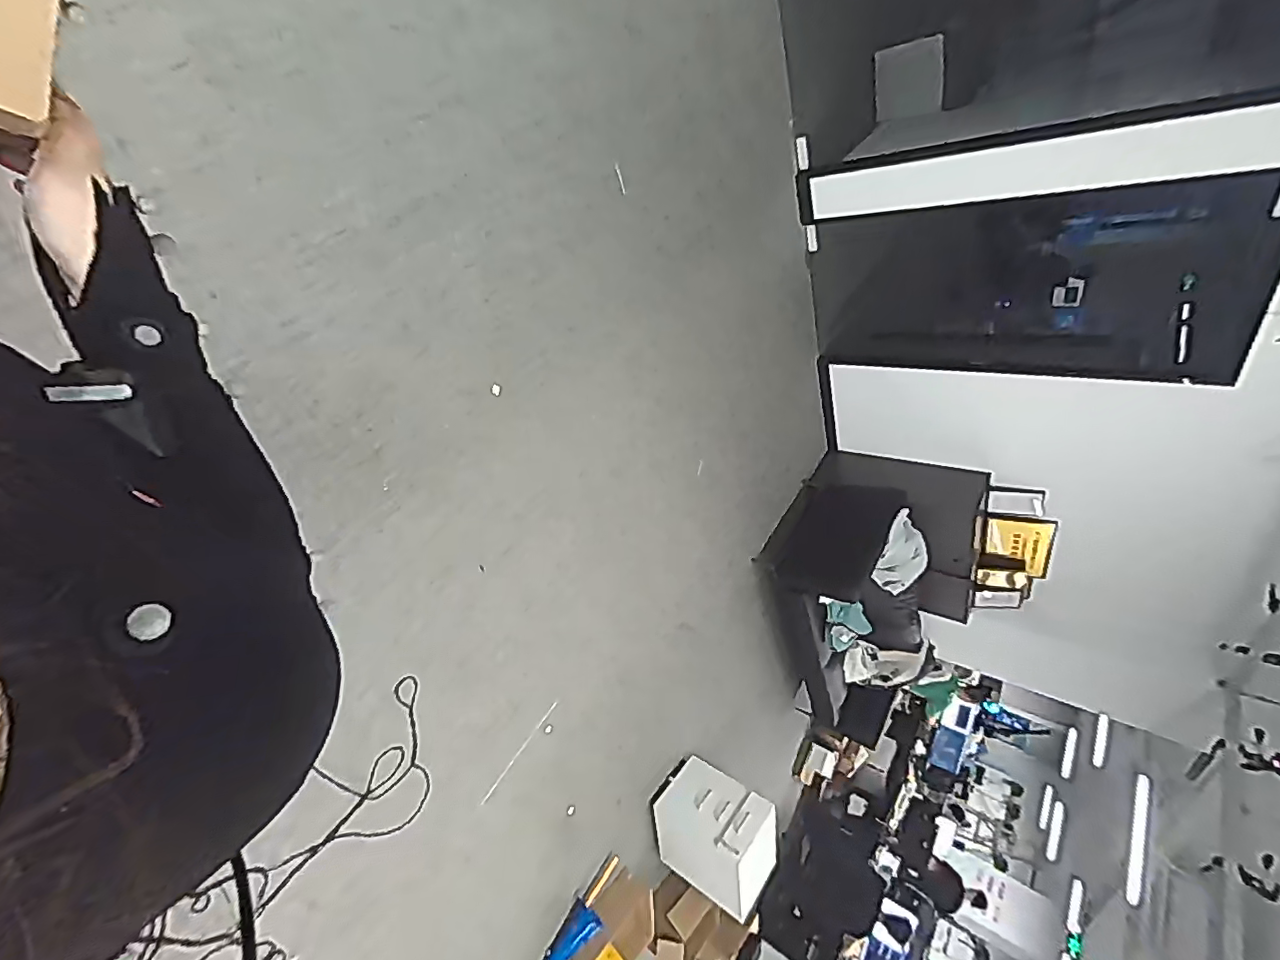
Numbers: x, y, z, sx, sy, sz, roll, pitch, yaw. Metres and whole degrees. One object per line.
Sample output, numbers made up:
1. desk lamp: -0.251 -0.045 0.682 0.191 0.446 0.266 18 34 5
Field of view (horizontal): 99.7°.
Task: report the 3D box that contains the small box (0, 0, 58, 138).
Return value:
1. small box: -0.388 -0.295 0.248 0.168 0.176 0.179 7 101 -51
